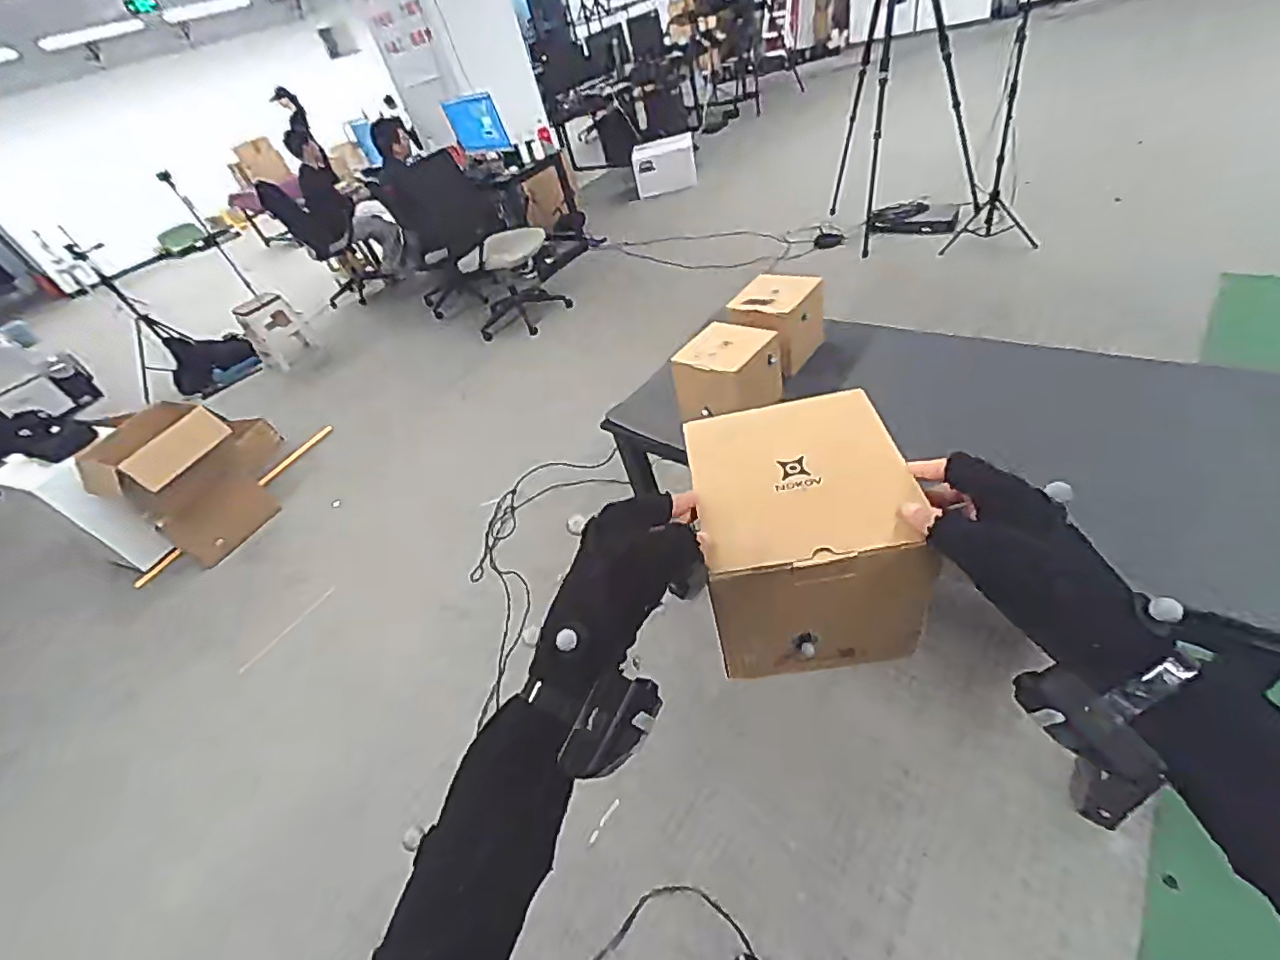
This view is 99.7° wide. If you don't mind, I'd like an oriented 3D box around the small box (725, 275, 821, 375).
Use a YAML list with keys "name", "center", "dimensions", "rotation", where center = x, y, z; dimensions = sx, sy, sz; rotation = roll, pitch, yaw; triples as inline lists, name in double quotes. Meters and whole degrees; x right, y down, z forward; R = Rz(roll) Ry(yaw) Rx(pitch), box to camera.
- name: "small box"
  center: [0.332, -0.378, 1.317]
  dimensions: [0.168, 0.176, 0.179]
  rotation: [20, 54, 35]

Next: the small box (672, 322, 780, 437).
- name: "small box"
  center: [0.196, -0.225, 1.197]
  dimensions: [0.168, 0.176, 0.179]
  rotation: [22, 54, 36]
